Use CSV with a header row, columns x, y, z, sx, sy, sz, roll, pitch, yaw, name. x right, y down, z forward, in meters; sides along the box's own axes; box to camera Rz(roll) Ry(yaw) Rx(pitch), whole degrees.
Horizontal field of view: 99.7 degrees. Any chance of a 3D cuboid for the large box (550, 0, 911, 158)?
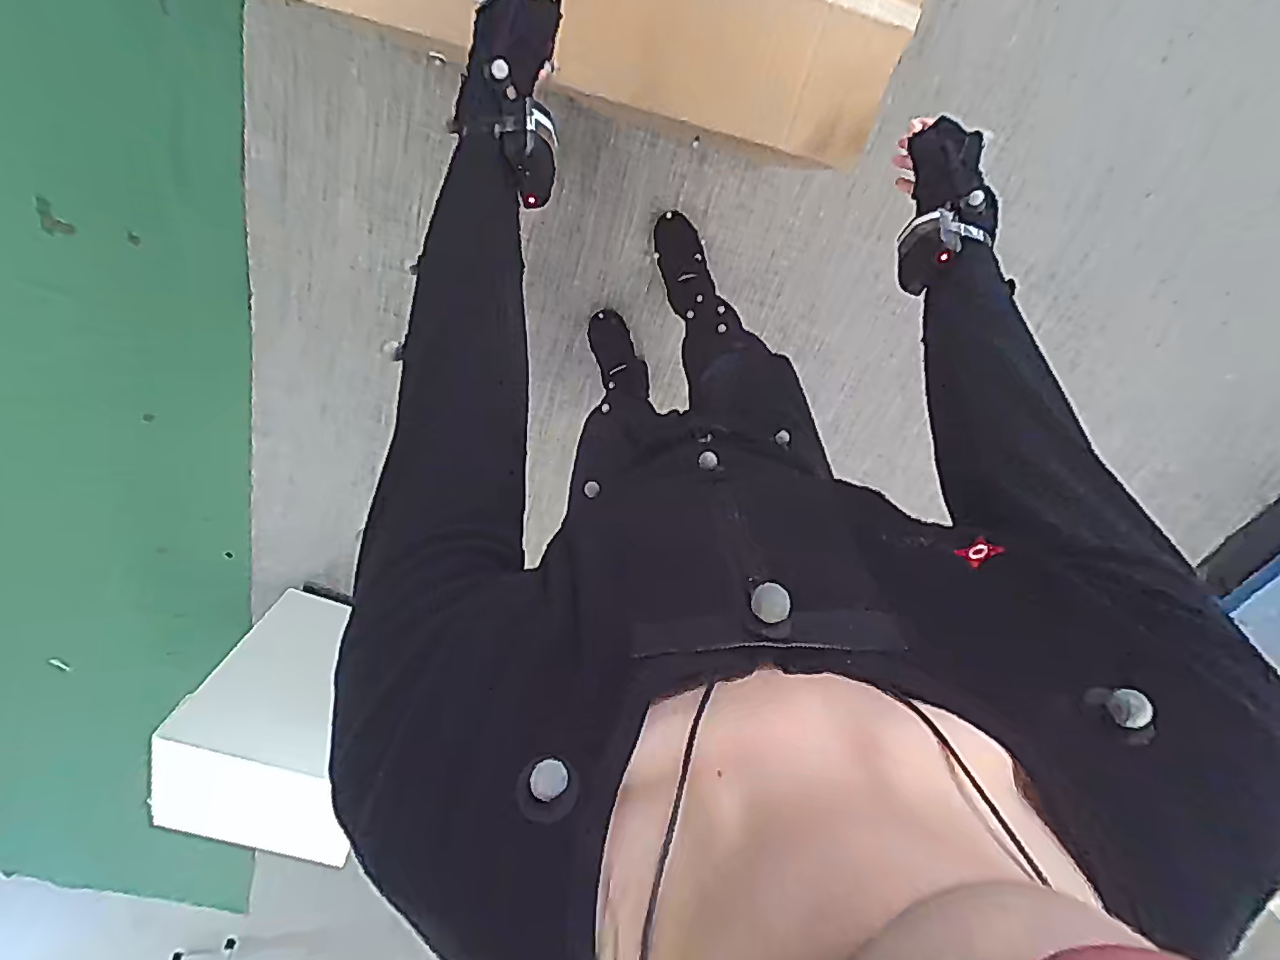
x,y,z,sx,sy,sz,roll,pitch,yaw,name
0.124,-0.656,0.731,0.408,0.320,0.320,13,120,-4,large box
